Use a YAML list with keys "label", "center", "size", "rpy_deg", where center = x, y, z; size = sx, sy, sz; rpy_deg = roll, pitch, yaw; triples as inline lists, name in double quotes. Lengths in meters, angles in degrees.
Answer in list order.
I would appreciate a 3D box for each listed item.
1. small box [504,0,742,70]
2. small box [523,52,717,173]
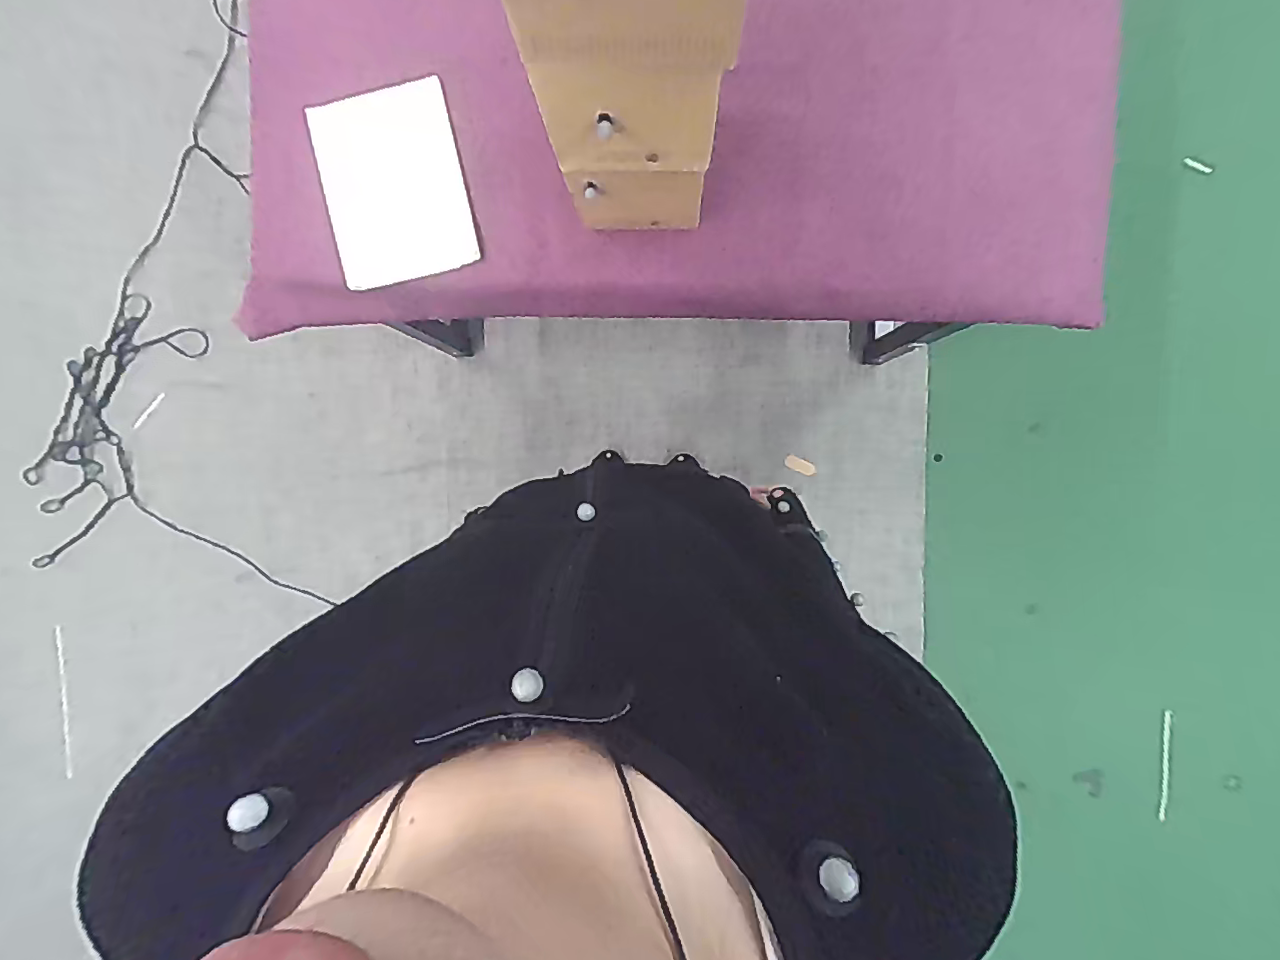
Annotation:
- label: "small box"
  center: [-0.008, -0.416, 0.361]
  size: [0.179, 0.176, 0.168]
  rpy_deg: [4, 90, 2]
- label: "small box"
  center: [-0.010, -0.426, 0.526]
  size: [0.168, 0.176, 0.179]
  rpy_deg: [1, 91, 2]
